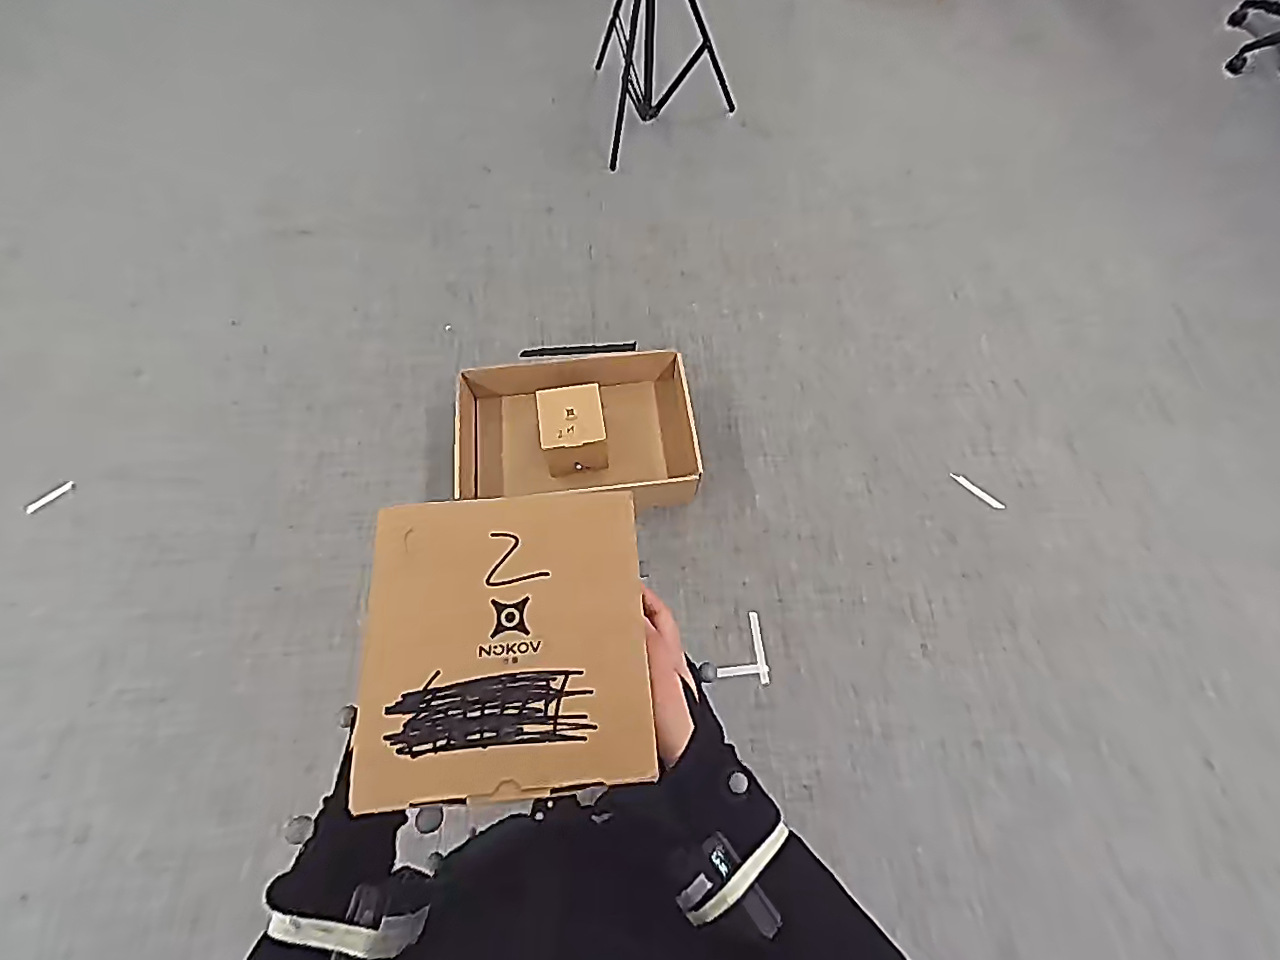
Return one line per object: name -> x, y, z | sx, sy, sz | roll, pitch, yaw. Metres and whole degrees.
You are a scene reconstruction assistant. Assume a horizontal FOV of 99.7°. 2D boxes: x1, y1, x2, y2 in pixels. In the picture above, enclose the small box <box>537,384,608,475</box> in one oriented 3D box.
small box -> -0.180, -0.134, 1.461 | 0.168, 0.176, 0.179 | -8, 68, -4
